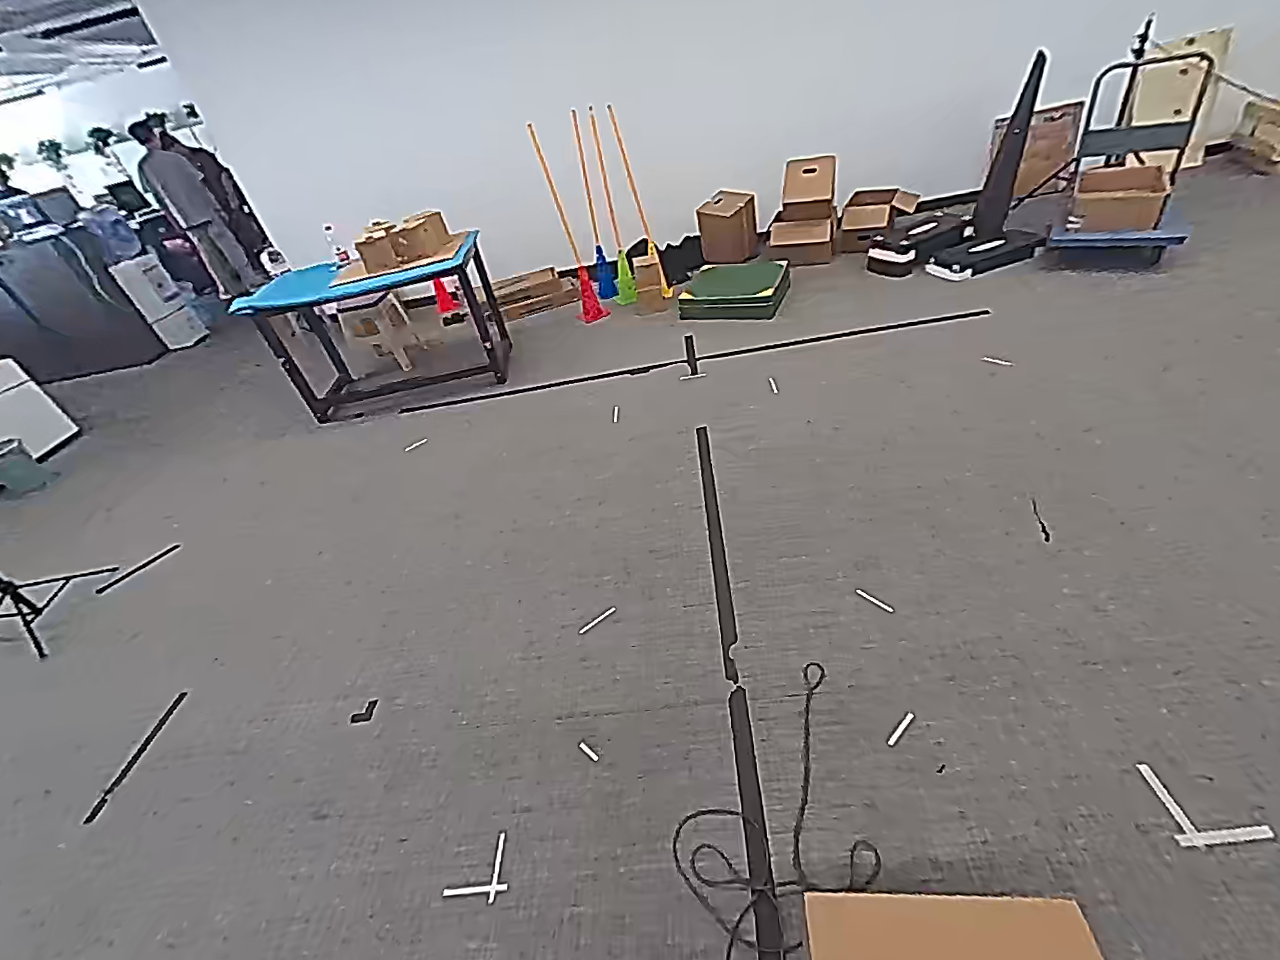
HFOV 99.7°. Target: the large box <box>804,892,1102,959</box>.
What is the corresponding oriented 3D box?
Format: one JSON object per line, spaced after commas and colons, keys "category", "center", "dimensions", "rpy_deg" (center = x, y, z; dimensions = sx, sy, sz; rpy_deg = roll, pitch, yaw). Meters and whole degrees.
{"category": "large box", "center": [0.485, 0.870, 0.829], "dimensions": [0.408, 0.320, 0.320], "rpy_deg": [-6, 38, 10]}
